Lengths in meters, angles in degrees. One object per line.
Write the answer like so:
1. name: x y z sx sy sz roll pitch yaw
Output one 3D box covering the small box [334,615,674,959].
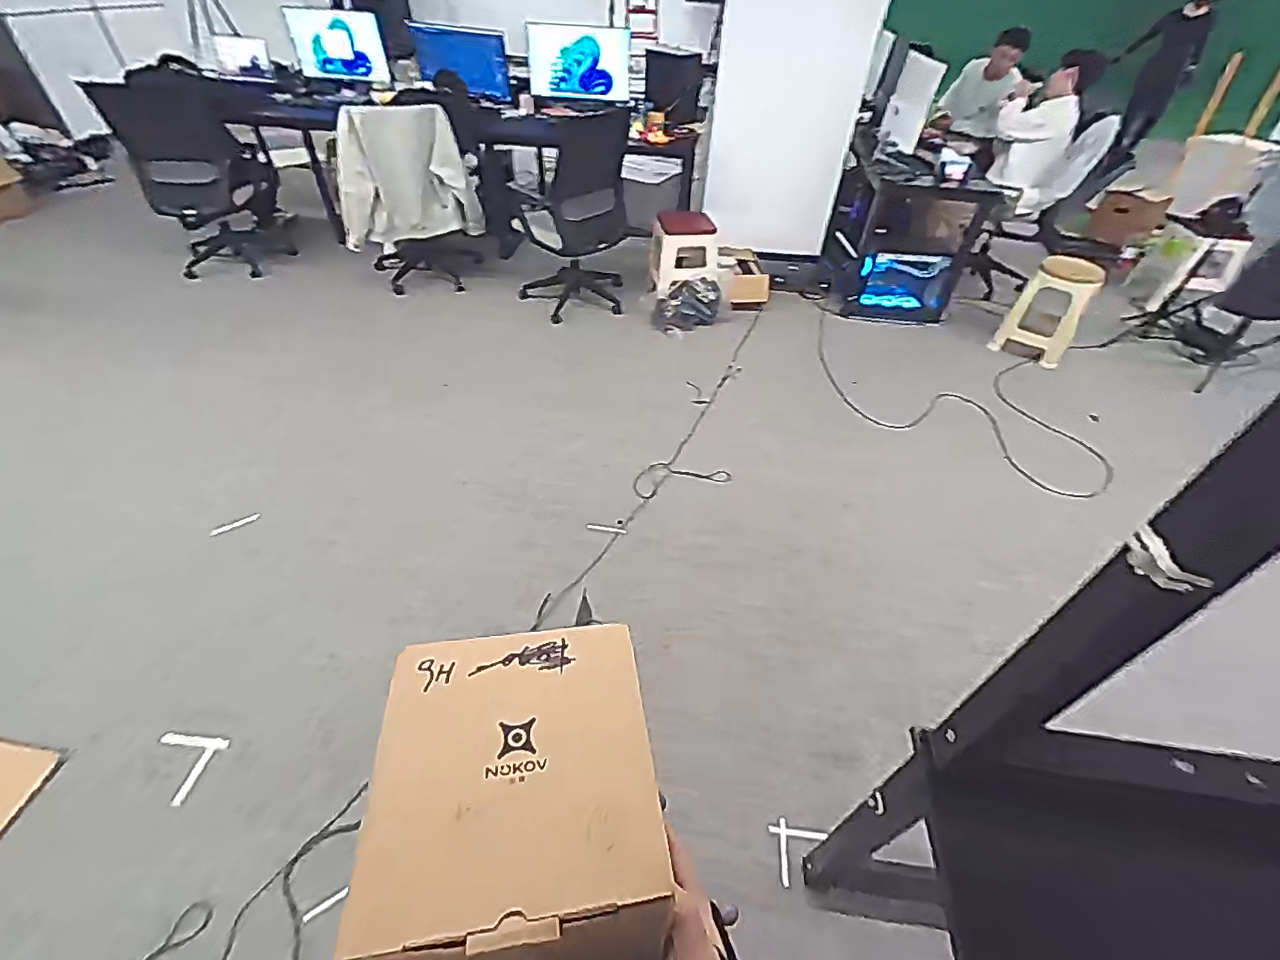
1. small box: -0.079 0.220 0.372 0.168 0.176 0.179 -2 38 -10
